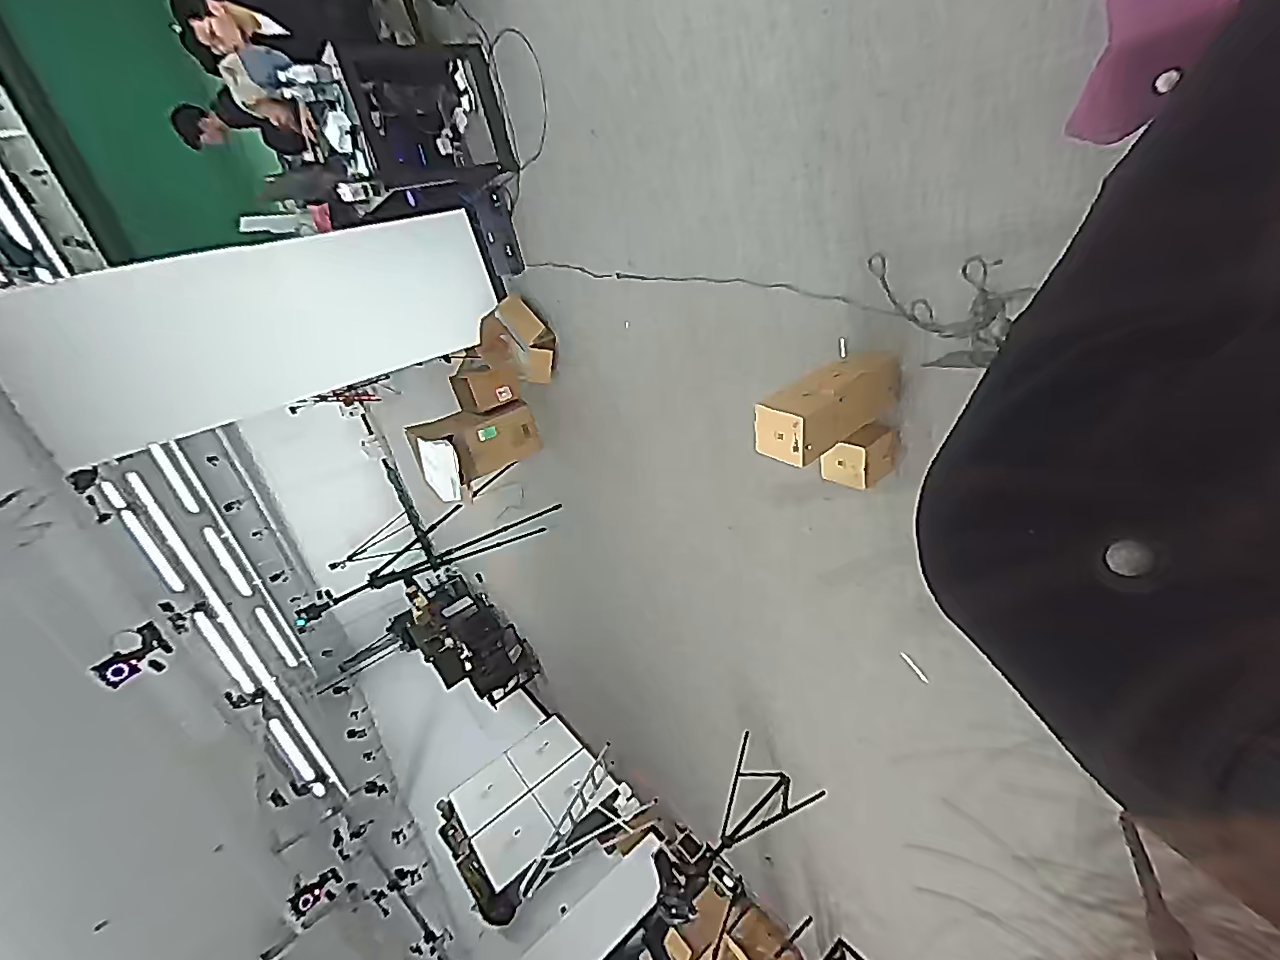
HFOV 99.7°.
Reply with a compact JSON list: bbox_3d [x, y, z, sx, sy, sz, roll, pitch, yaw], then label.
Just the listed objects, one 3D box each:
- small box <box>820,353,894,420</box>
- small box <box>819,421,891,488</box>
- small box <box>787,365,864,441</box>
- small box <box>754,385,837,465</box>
[{"bbox_3d":[0.710,-0.314,1.779,0.179,0.176,0.168,18,131,50],"label":"small box"},{"bbox_3d":[0.751,-0.100,1.896,0.179,0.176,0.168,24,134,47],"label":"small box"},{"bbox_3d":[0.587,-0.245,1.700,0.168,0.176,0.179,21,132,50],"label":"small box"},{"bbox_3d":[0.463,-0.173,1.620,0.179,0.176,0.168,29,138,45],"label":"small box"}]
